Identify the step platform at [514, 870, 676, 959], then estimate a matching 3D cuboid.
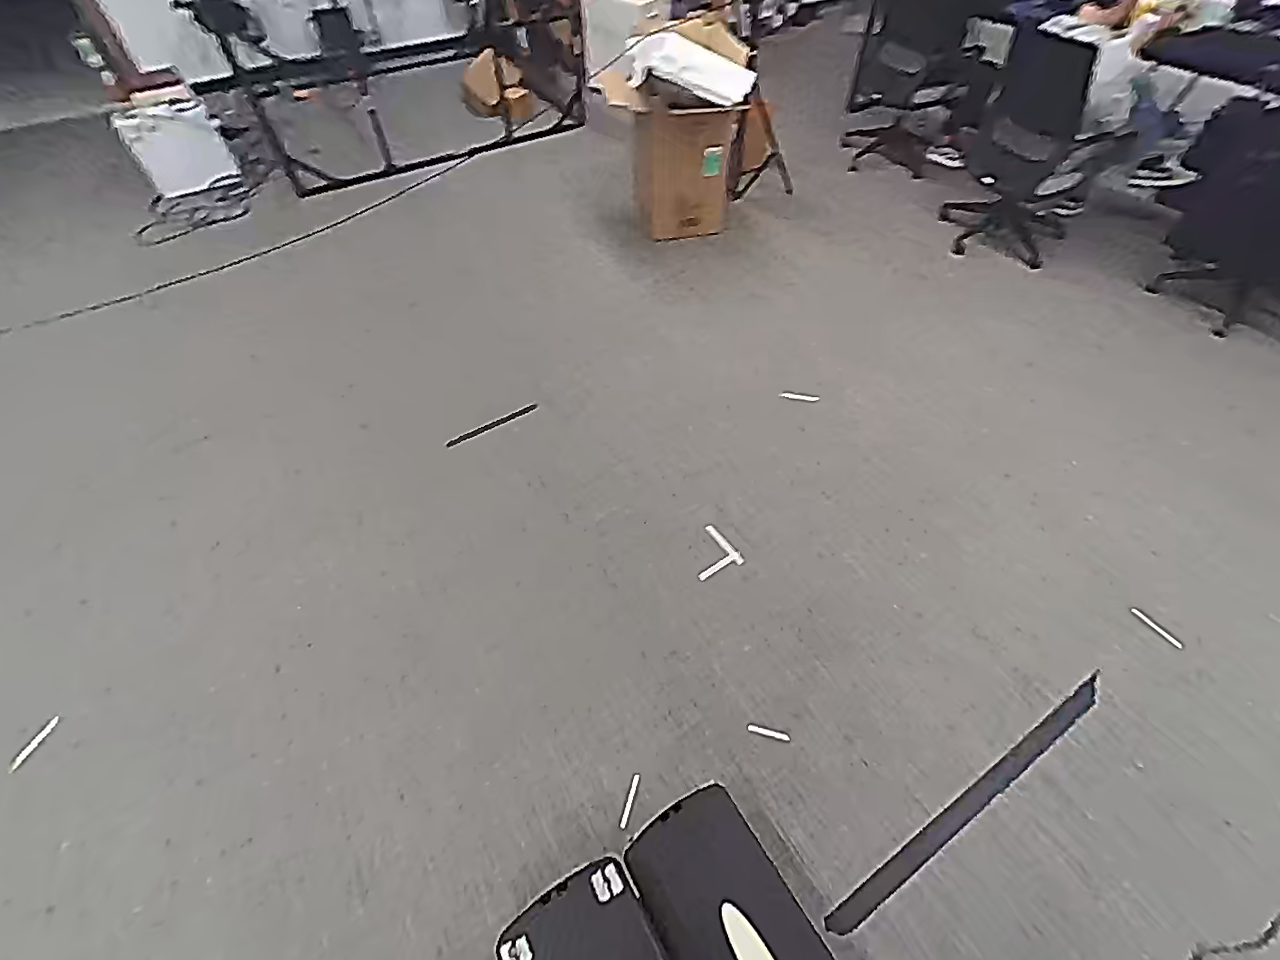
[{"bbox_3d":[0.017,1.117,0.961,0.286,0.204,0.684,-23,52,-17],"label":"step platform"}]
